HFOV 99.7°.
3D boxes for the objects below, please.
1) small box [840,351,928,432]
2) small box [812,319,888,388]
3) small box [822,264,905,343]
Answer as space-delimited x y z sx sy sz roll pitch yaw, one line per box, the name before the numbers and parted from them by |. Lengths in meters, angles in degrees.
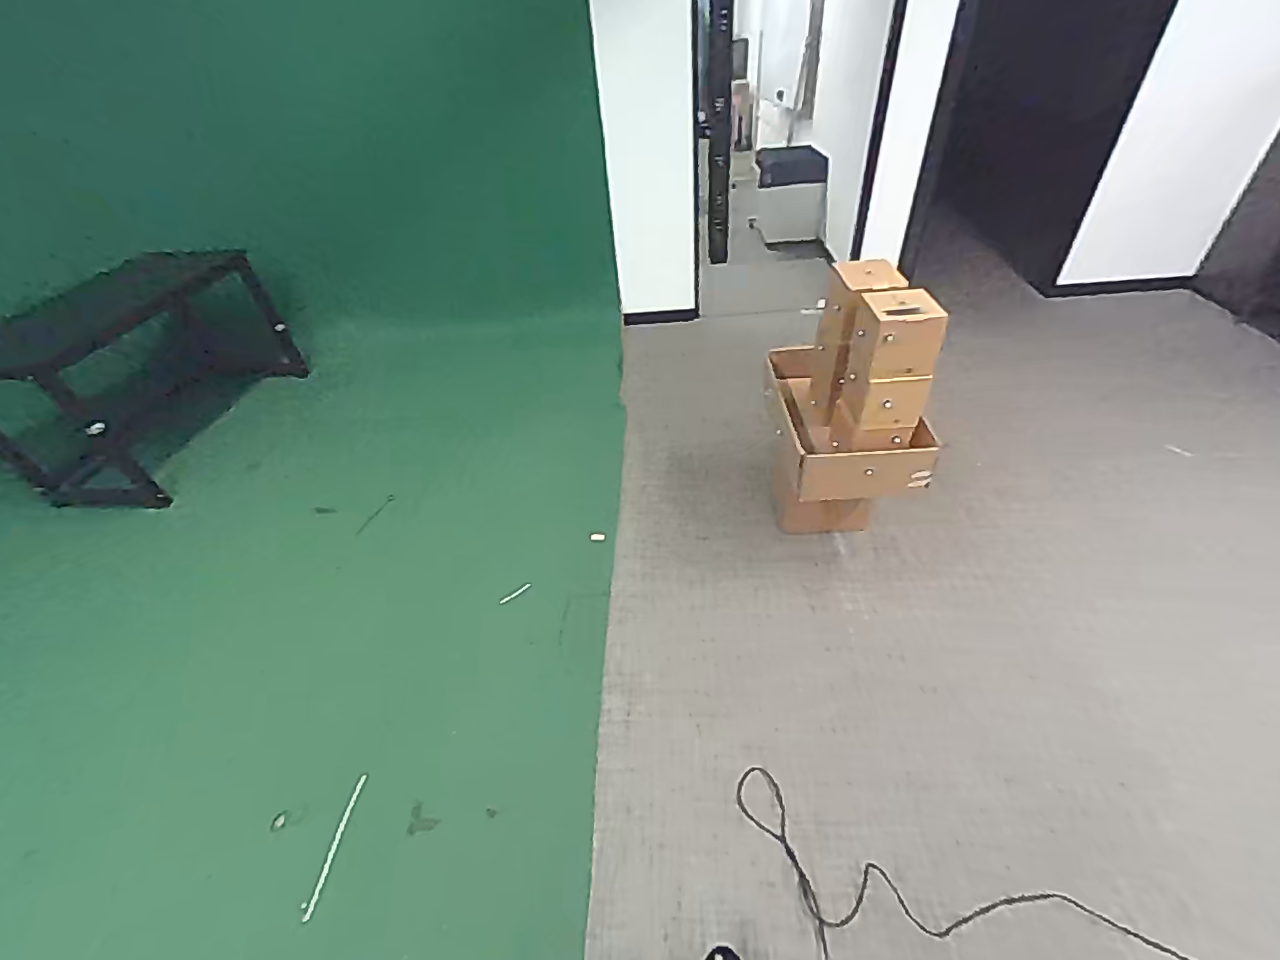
small box | 0.691 -0.249 1.552 0.168 0.176 0.179 -4 42 2
small box | 0.664 -0.406 1.728 0.168 0.176 0.179 -7 44 -1
small box | 0.659 -0.522 1.614 0.168 0.176 0.179 -4 45 1
